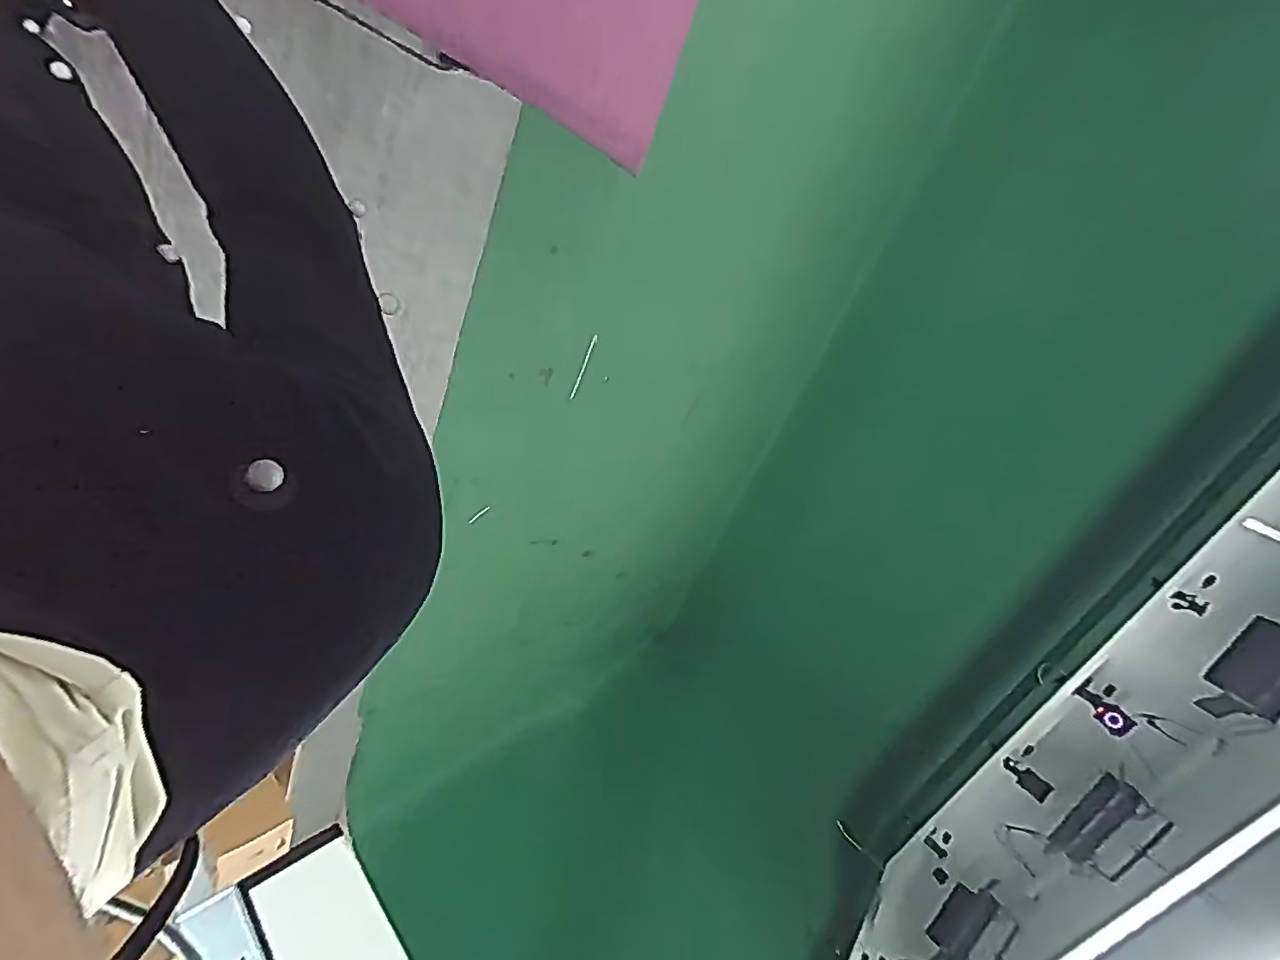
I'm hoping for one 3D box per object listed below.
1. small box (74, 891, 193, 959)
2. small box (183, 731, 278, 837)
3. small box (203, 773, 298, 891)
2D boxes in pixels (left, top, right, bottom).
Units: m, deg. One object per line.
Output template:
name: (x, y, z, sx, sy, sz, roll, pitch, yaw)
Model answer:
small box: (-1.121, 1.065, 1.195, 0.168, 0.176, 0.179, -6, 128, -52)
small box: (-1.184, 0.868, 1.563, 0.179, 0.176, 0.168, -6, 127, -51)
small box: (-1.072, 0.955, 1.482, 0.179, 0.176, 0.168, -9, 129, -50)
